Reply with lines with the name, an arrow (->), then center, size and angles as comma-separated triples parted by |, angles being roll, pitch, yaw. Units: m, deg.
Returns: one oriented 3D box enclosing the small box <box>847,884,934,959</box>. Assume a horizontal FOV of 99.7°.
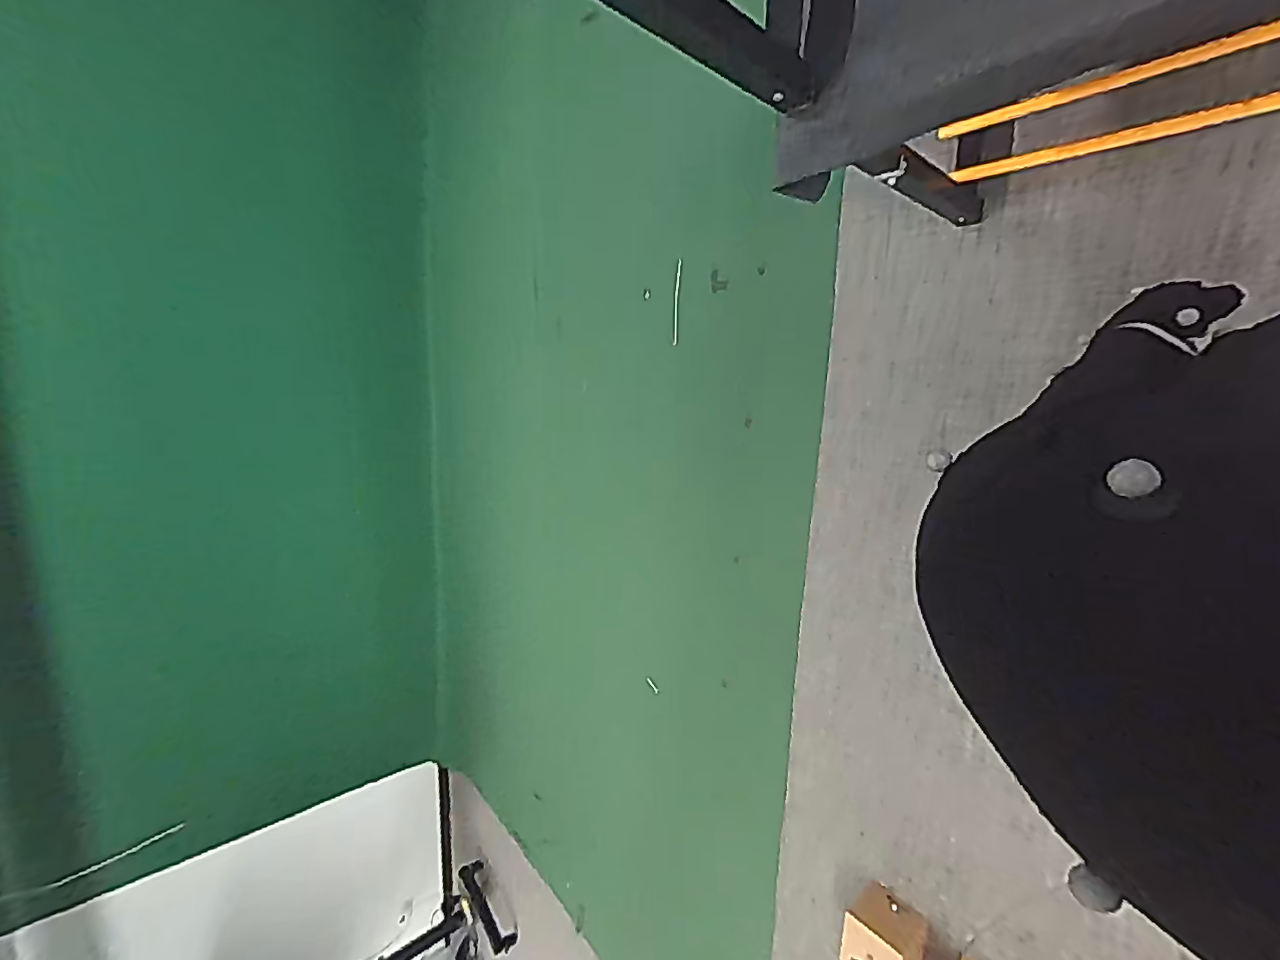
small box -> 0.718, 1.325, 1.548 | 0.168, 0.176, 0.179 | 13, 104, 48
